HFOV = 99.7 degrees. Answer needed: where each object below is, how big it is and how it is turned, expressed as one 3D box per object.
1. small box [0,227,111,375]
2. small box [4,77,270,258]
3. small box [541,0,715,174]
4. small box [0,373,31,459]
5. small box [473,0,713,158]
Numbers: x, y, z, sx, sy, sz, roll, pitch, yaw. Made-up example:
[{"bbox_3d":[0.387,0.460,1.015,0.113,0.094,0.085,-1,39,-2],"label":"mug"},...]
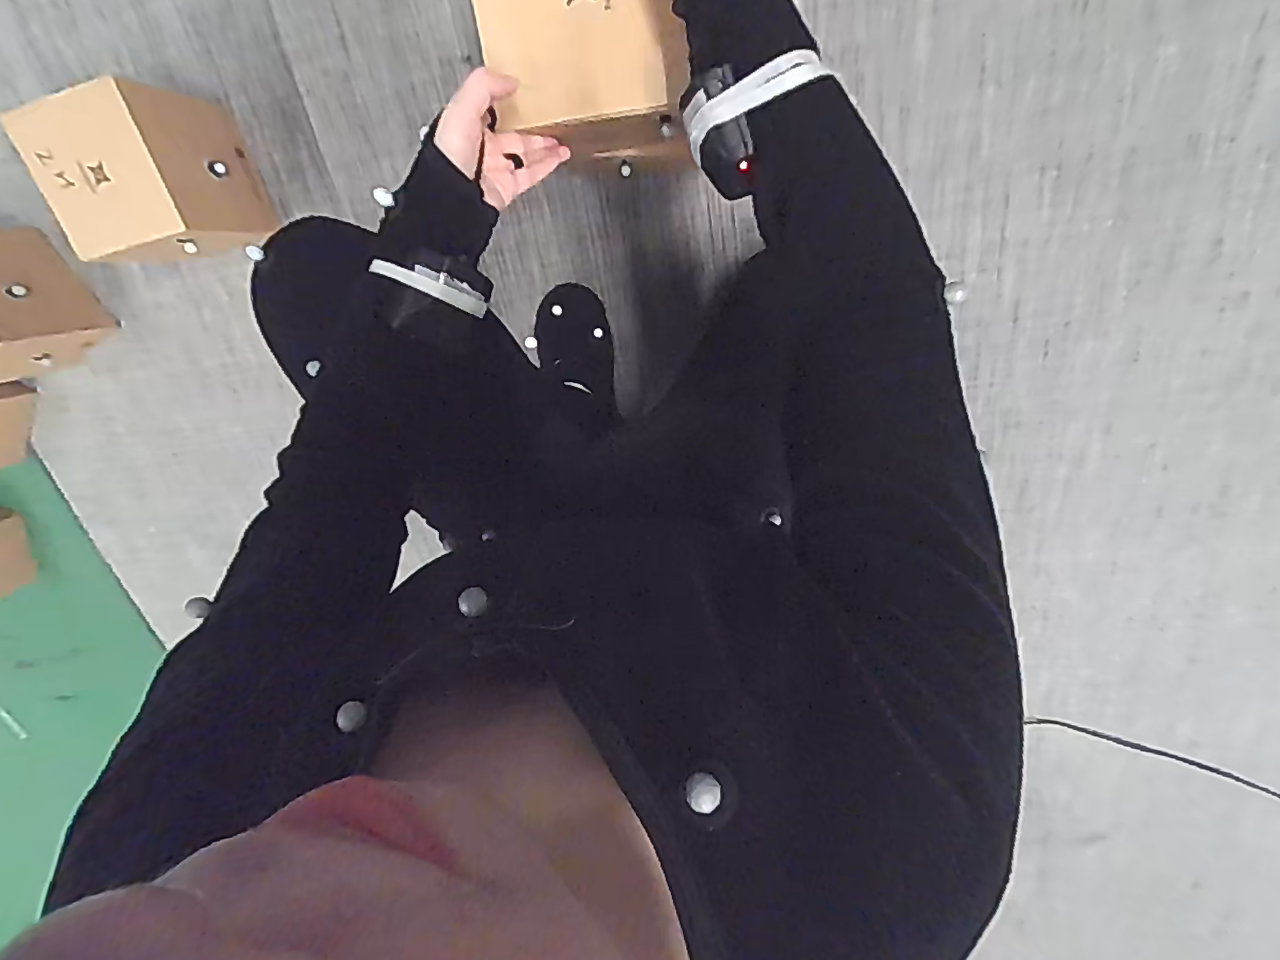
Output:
[{"bbox_3d":[-1.004,-0.275,0.842,0.168,0.176,0.179,-23,109,18],"label":"small box"},{"bbox_3d":[-0.646,-0.405,0.727,0.179,0.176,0.168,-8,112,12],"label":"small box"},{"bbox_3d":[-0.009,-0.449,0.613,0.179,0.176,0.168,3,115,6],"label":"small box"},{"bbox_3d":[-1.241,-0.124,0.947,0.168,0.176,0.179,36,114,-8],"label":"small box"},{"bbox_3d":[-0.029,-0.388,0.463,0.179,0.176,0.168,-3,114,9],"label":"small box"}]
